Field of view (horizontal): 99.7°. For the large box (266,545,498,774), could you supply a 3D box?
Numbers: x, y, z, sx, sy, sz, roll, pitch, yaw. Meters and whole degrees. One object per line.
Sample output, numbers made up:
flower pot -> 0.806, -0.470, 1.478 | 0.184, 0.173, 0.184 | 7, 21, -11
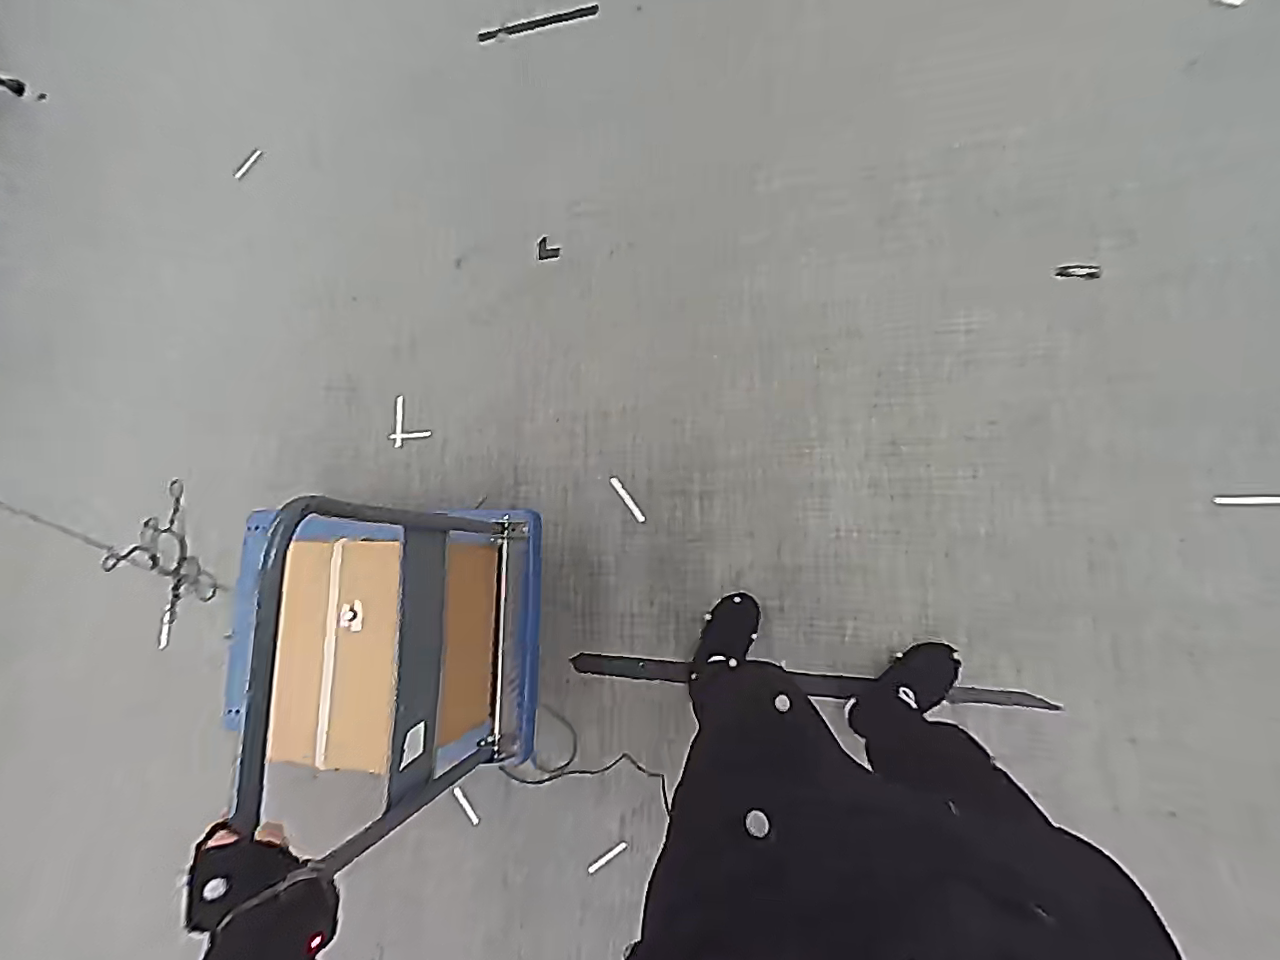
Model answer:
large box -> -0.519, 0.347, 1.150 | 0.320, 0.320, 0.408 | -1, 81, 15
